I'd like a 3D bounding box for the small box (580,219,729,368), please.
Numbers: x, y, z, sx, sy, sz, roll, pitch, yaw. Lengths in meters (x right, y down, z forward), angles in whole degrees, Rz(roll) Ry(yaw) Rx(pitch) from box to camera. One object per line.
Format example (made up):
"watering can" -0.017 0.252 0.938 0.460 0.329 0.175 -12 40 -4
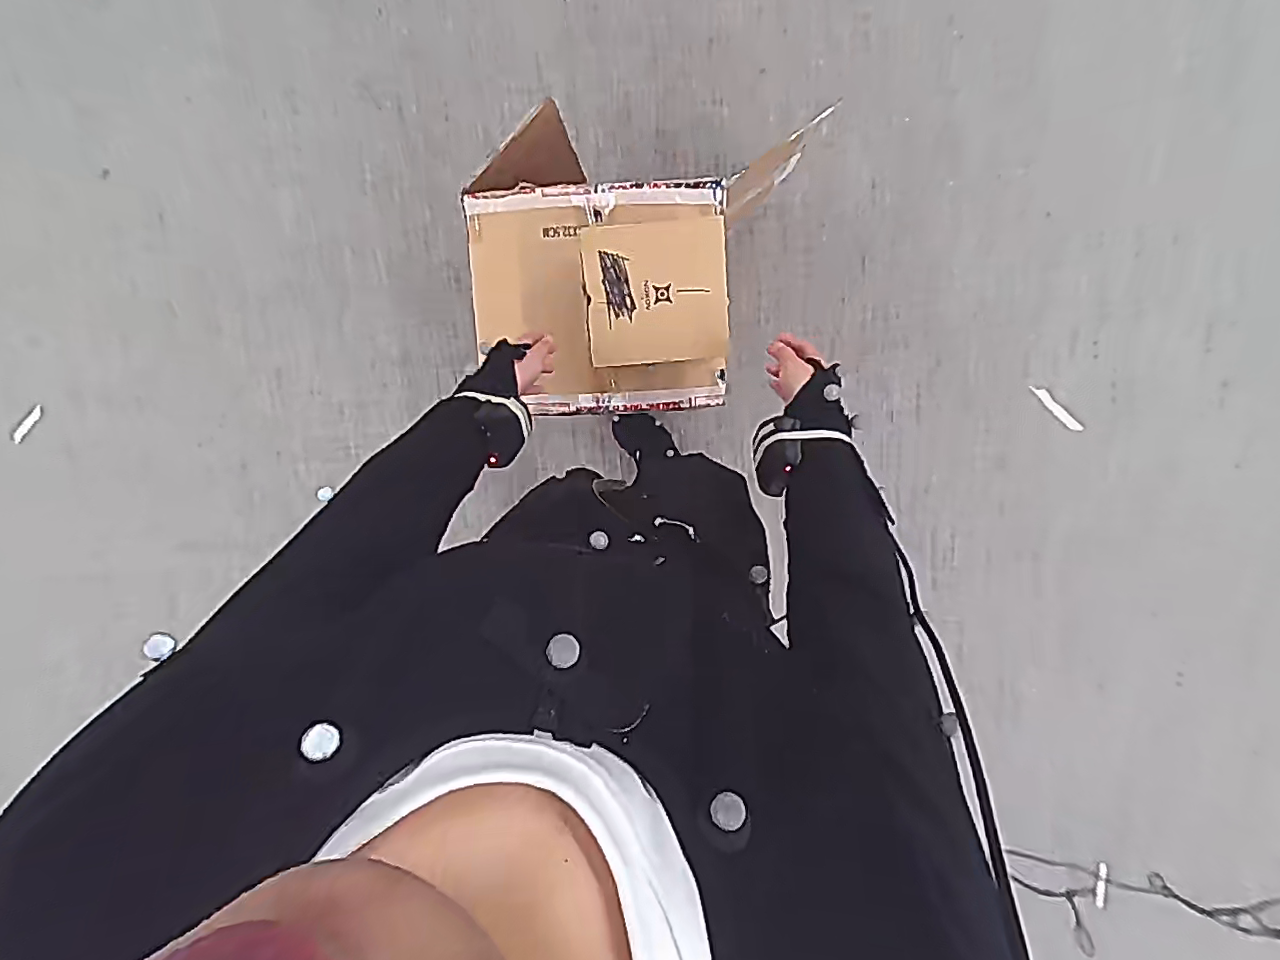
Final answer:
"small box" 0.021 -0.242 0.737 0.179 0.176 0.168 -4 102 2
